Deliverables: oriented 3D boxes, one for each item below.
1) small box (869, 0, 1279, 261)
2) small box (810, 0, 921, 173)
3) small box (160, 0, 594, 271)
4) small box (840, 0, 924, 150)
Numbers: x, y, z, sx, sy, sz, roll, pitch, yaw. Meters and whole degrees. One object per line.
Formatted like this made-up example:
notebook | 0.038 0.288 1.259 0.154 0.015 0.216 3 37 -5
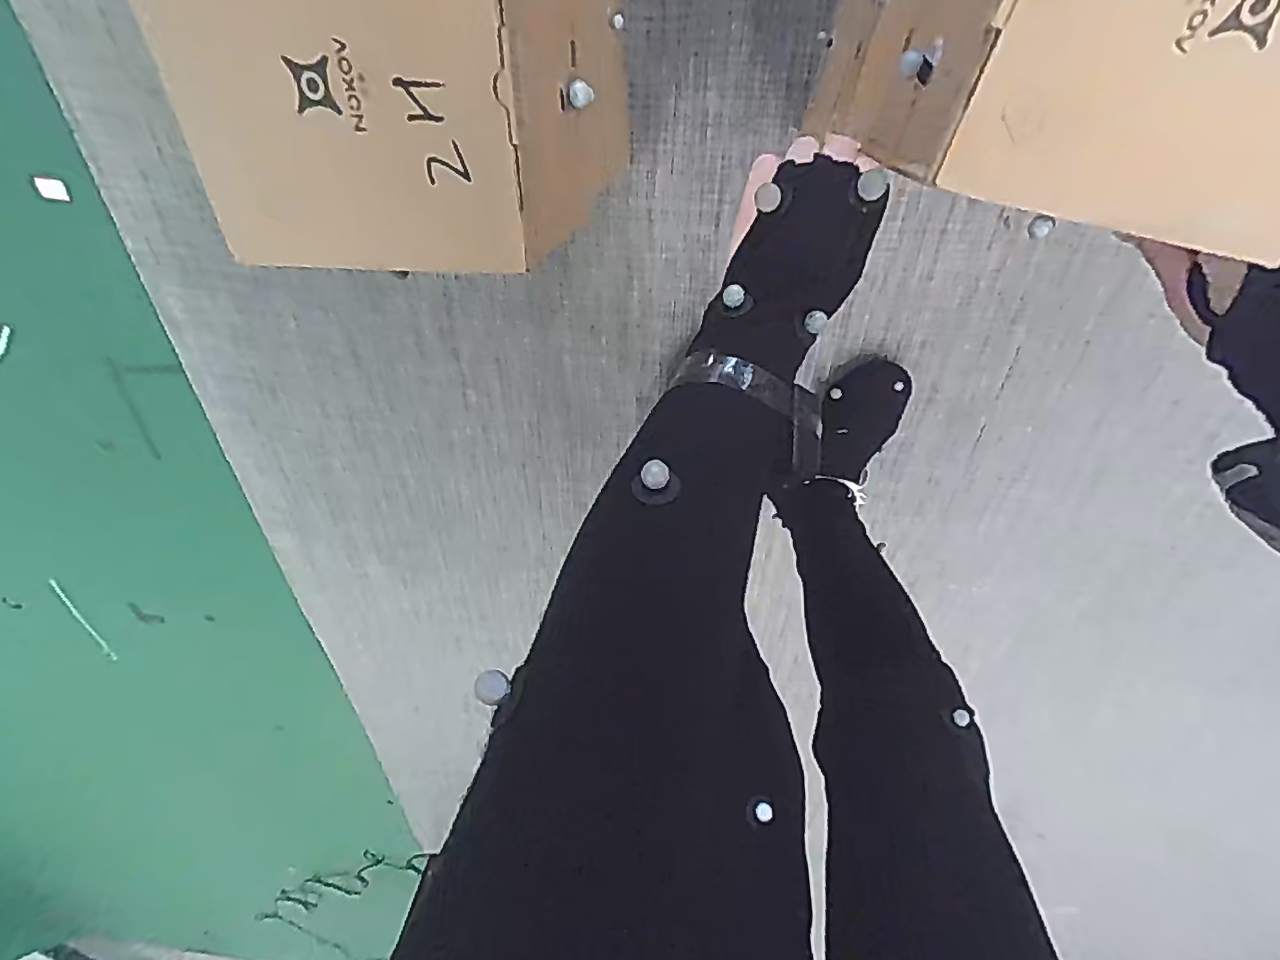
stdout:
small box | 0.248 -0.237 0.283 0.179 0.176 0.168 13 127 -2
small box | 0.282 -0.423 0.546 0.168 0.176 0.179 11 126 0
small box | -0.131 -0.236 0.330 0.179 0.176 0.168 4 124 5
small box | 0.273 -0.337 0.408 0.179 0.176 0.168 10 126 2
